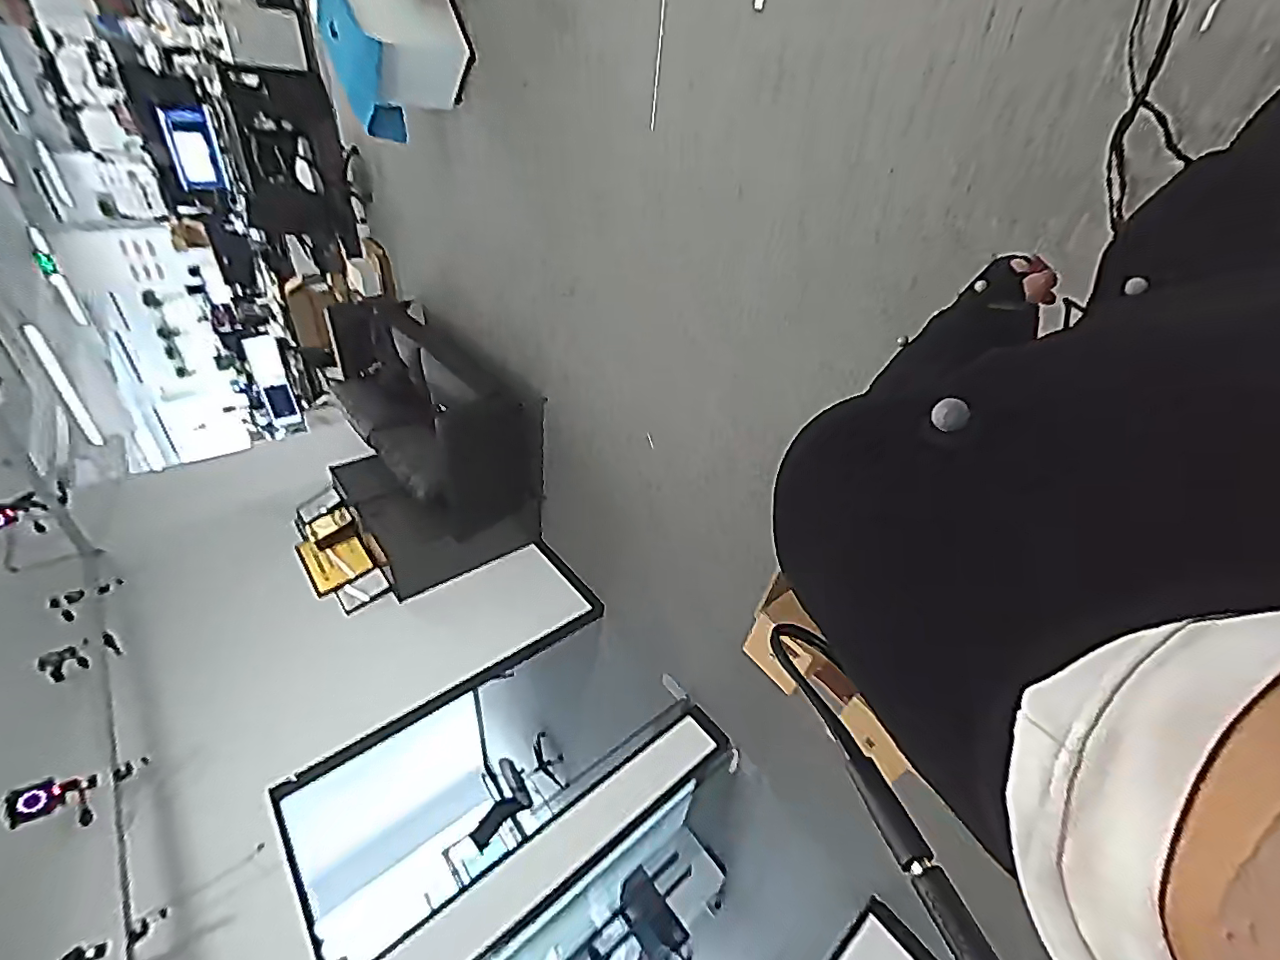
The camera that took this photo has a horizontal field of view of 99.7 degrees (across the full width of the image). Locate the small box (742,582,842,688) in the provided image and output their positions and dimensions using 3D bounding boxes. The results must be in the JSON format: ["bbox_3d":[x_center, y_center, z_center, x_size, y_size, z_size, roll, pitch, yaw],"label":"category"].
[{"bbox_3d":[0.402,0.401,1.424,0.168,0.176,0.179,43,139,32],"label":"small box"}]

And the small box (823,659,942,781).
[{"bbox_3d":[0.575,0.558,1.275,0.168,0.176,0.179,44,139,31],"label":"small box"}]
